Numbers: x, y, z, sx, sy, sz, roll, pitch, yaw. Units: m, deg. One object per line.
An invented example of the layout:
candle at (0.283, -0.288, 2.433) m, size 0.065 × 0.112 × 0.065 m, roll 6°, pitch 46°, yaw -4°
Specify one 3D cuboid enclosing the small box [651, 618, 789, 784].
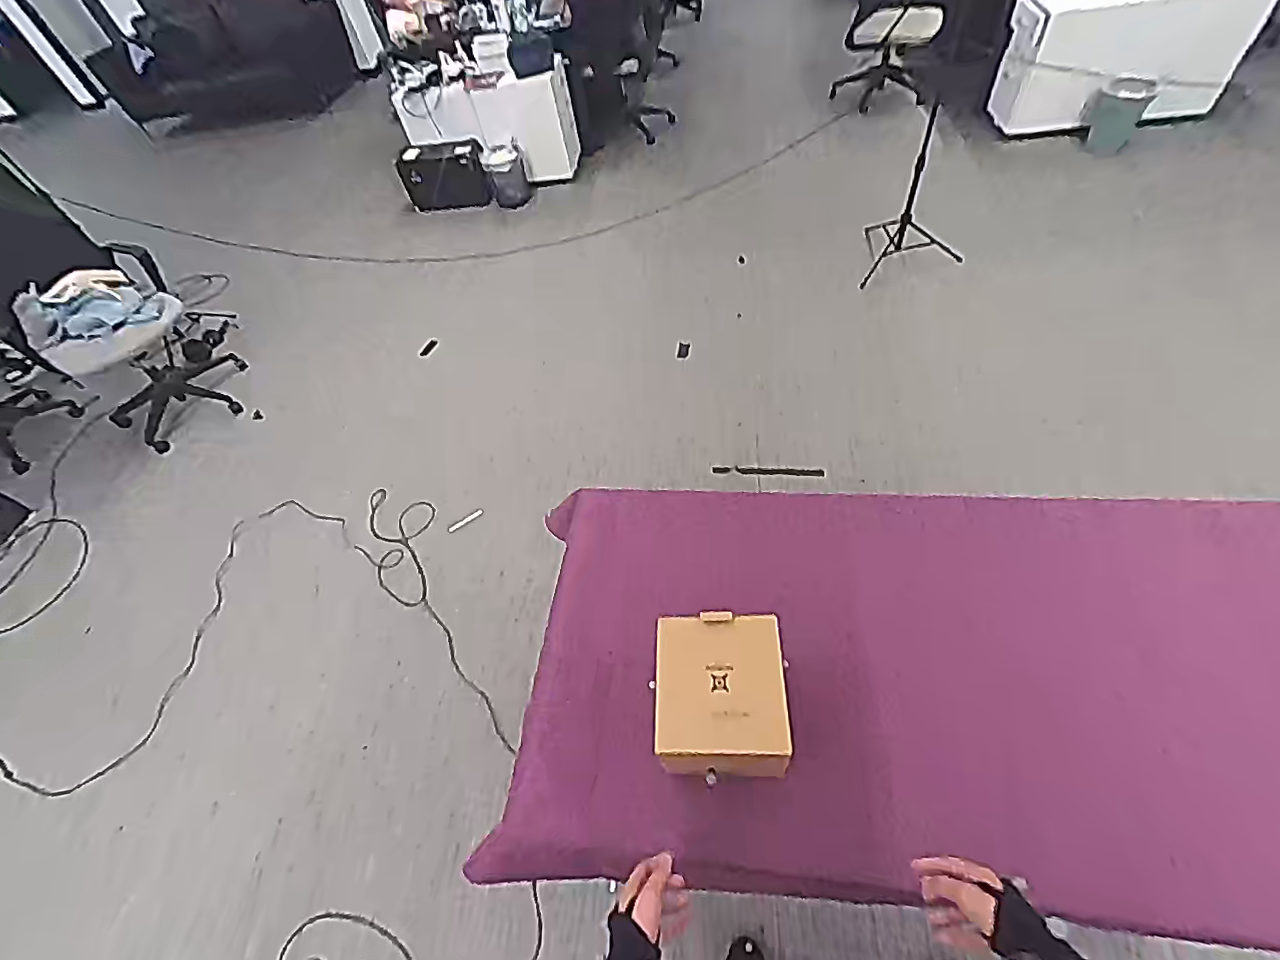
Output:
small box at (0.109, 0.307, 0.750) m, size 0.168 × 0.176 × 0.179 m, roll -3°, pitch 53°, yaw 8°
